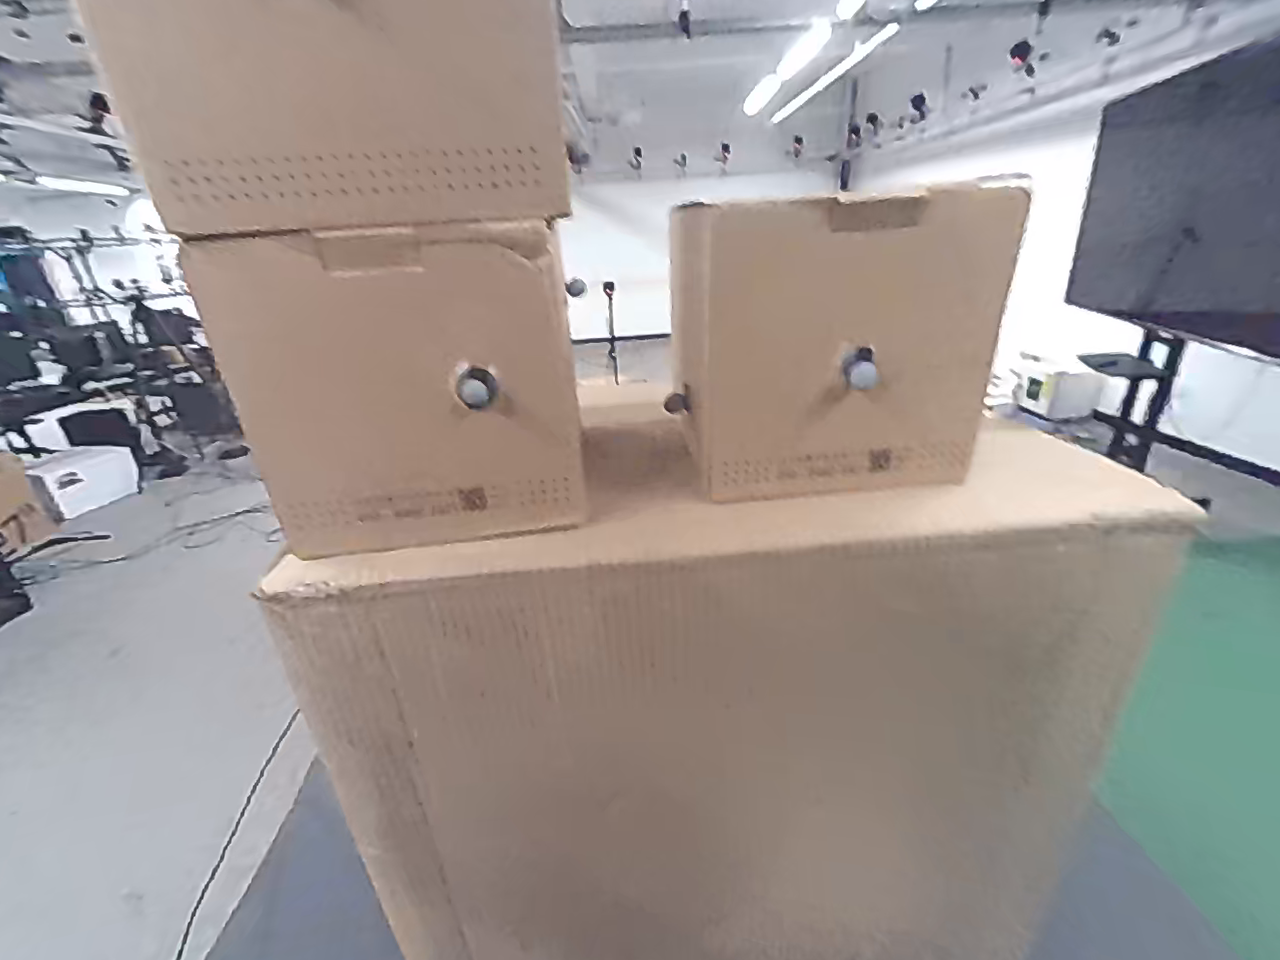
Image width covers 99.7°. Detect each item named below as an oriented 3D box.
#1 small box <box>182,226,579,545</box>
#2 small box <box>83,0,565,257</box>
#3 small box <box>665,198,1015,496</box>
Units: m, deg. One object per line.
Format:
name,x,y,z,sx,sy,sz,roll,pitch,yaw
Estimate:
small box,-0.130,-0.067,0.356,0.168,0.176,0.179,-5,25,-5
small box,-0.135,-0.212,0.279,0.179,0.176,0.168,-7,27,-12
small box,0.110,-0.096,0.380,0.168,0.176,0.179,-4,26,-2
